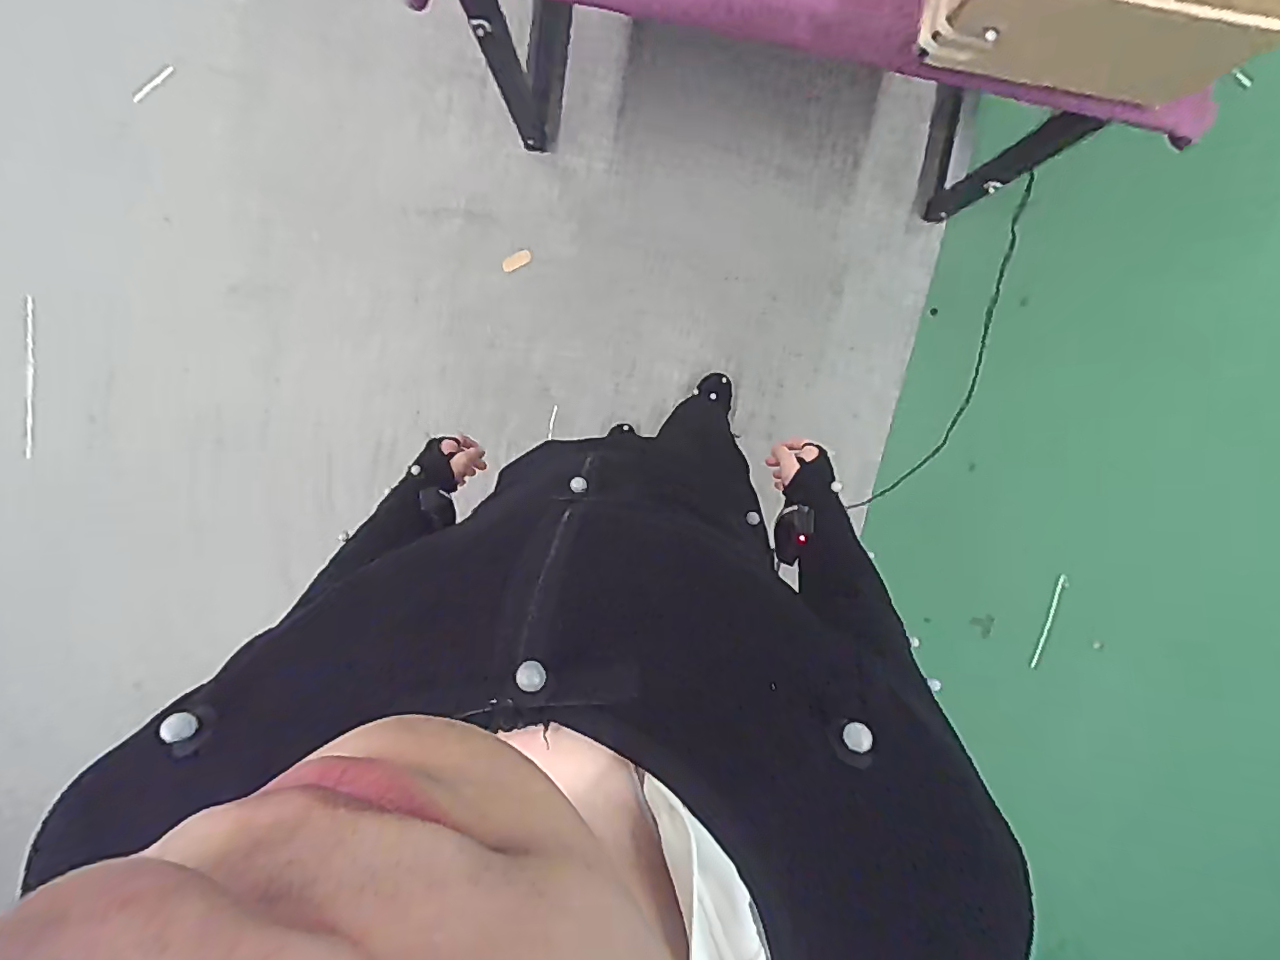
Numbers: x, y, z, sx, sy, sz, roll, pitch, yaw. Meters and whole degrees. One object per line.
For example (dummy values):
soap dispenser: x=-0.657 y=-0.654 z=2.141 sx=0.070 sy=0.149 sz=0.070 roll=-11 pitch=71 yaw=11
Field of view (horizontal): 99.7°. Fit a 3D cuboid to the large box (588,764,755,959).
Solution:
large box: x=0.087 y=1.168 z=1.670 sx=0.408 sy=0.320 sz=0.320 roll=-21 pitch=100 yaw=1
